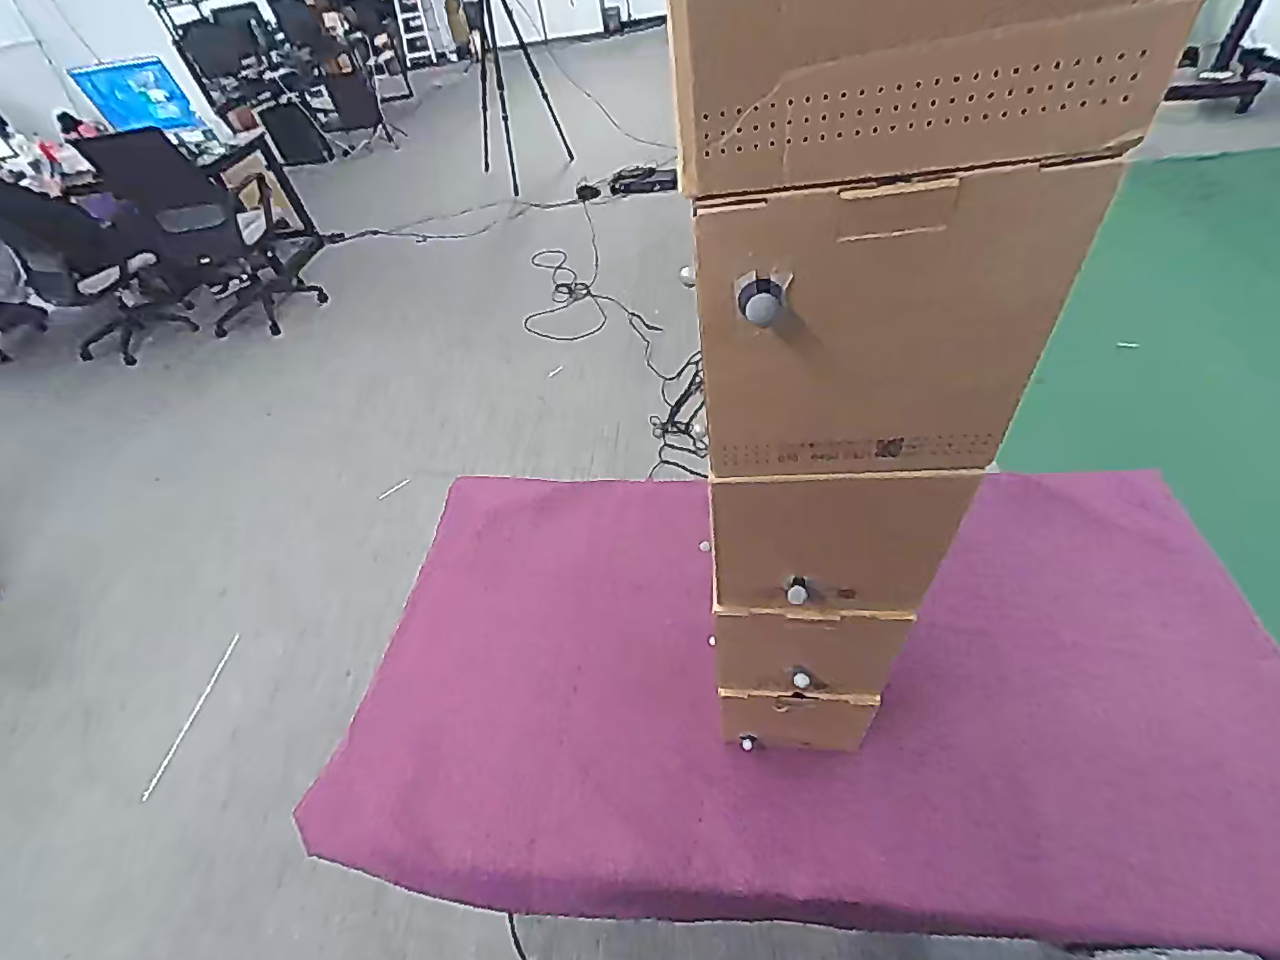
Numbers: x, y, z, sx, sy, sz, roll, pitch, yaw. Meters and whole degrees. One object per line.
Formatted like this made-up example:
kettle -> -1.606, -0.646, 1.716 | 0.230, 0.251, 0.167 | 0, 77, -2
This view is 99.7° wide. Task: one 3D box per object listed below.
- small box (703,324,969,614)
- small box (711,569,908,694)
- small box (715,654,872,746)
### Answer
small box -> 0.141, -0.009, 0.456 | 0.168, 0.176, 0.179 | -1, 48, 10
small box -> 0.161, 0.104, 0.572 | 0.168, 0.176, 0.179 | -1, 48, 10
small box -> 0.184, 0.220, 0.685 | 0.168, 0.176, 0.179 | 0, 47, 10
